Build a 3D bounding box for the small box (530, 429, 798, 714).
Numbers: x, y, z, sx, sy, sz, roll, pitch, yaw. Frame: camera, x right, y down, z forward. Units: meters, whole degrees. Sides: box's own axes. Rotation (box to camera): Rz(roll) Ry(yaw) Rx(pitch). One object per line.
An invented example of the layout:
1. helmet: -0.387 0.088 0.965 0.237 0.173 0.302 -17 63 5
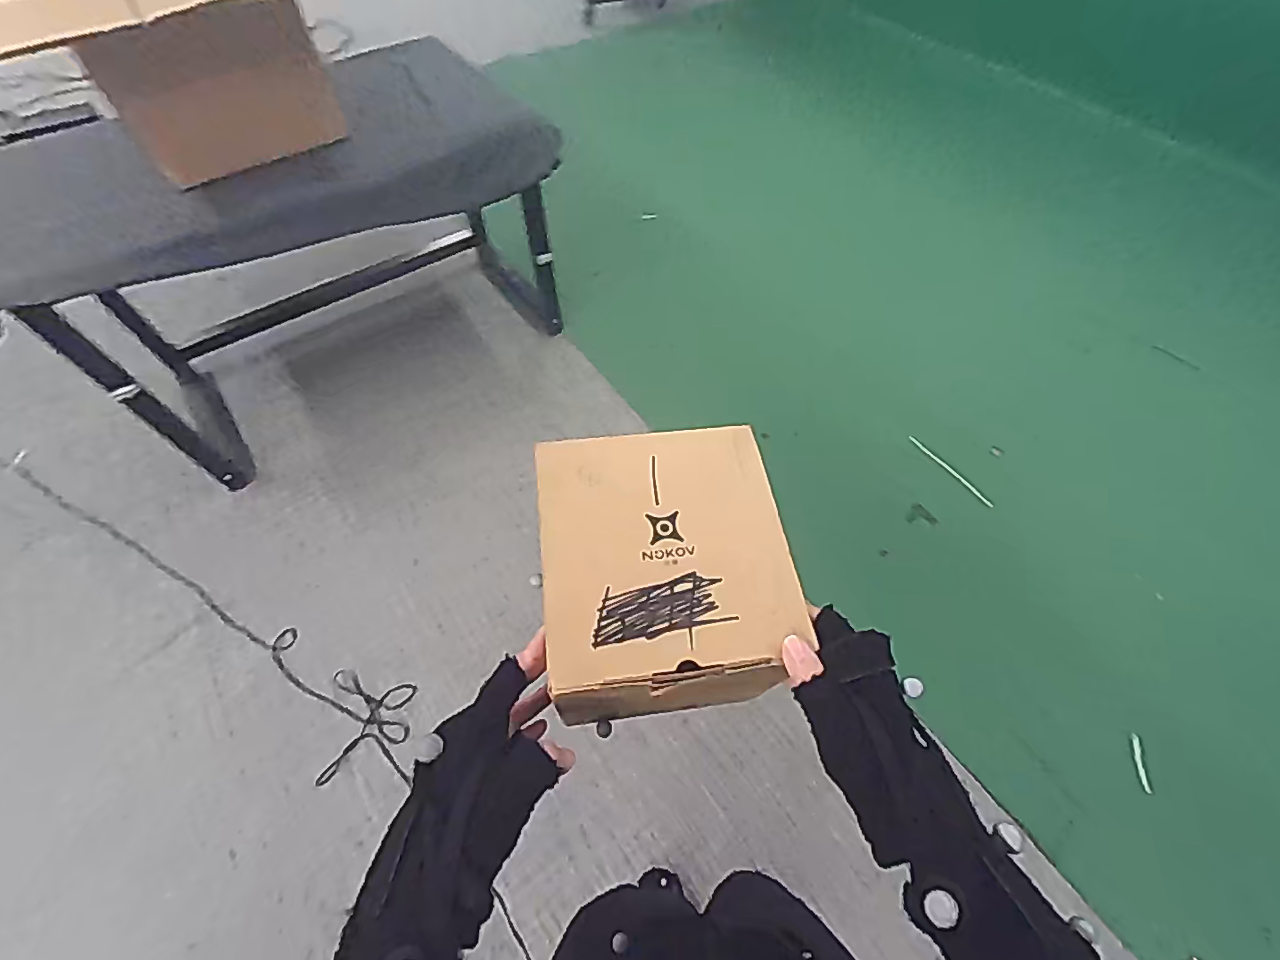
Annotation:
1. small box: 0.005 0.082 0.439 0.168 0.176 0.179 -5 58 -7
